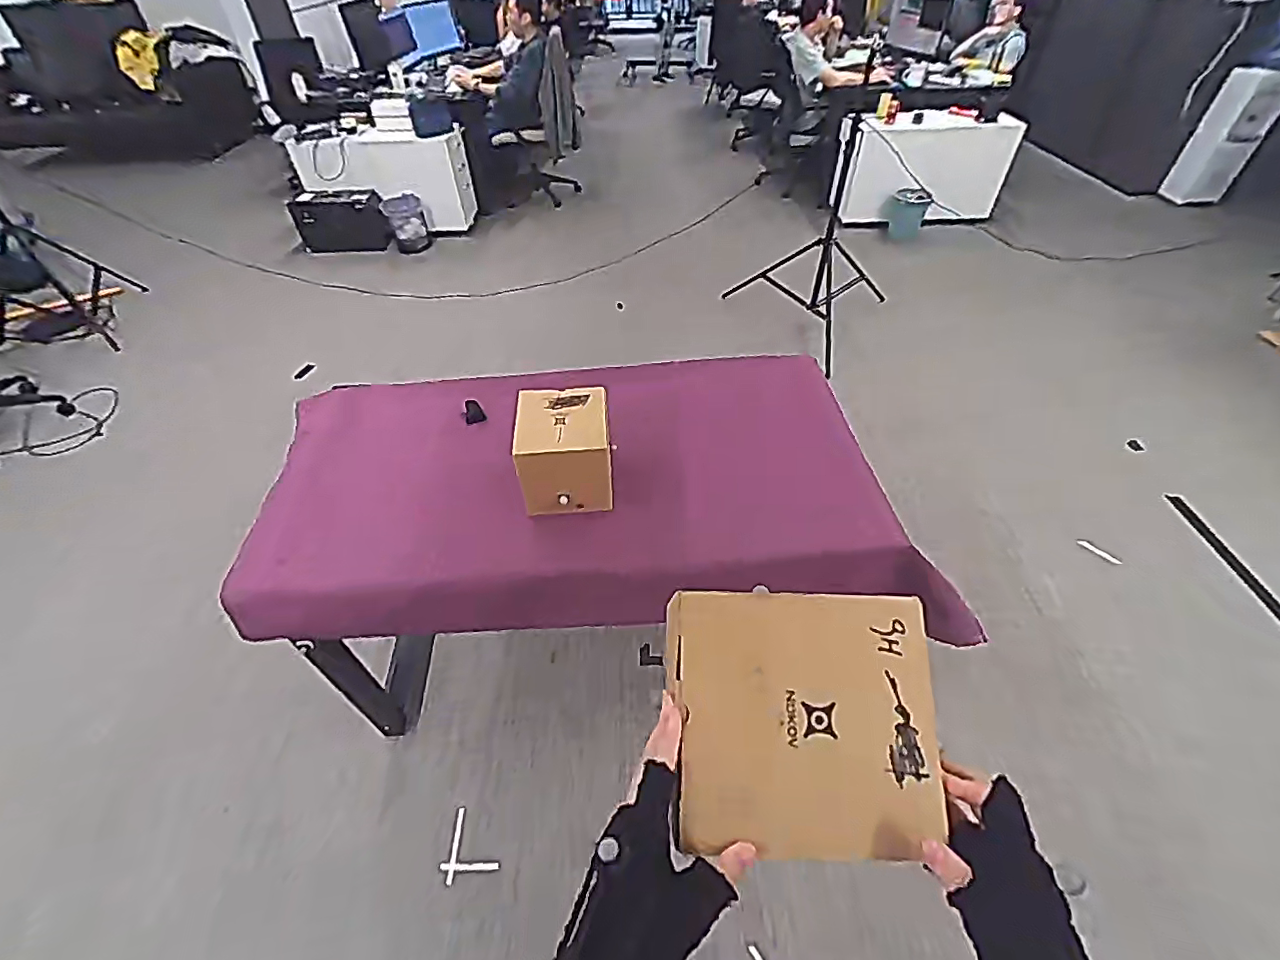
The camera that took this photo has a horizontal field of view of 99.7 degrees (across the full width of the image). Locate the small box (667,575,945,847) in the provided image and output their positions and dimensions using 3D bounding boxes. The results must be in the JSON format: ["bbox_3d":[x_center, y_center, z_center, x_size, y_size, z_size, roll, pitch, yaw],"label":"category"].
[{"bbox_3d":[0.112,0.175,0.443,0.179,0.176,0.168,2,73,2],"label":"small box"}]

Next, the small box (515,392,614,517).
[{"bbox_3d":[-0.138,-0.050,1.046,0.168,0.176,0.179,-4,46,-2],"label":"small box"}]
